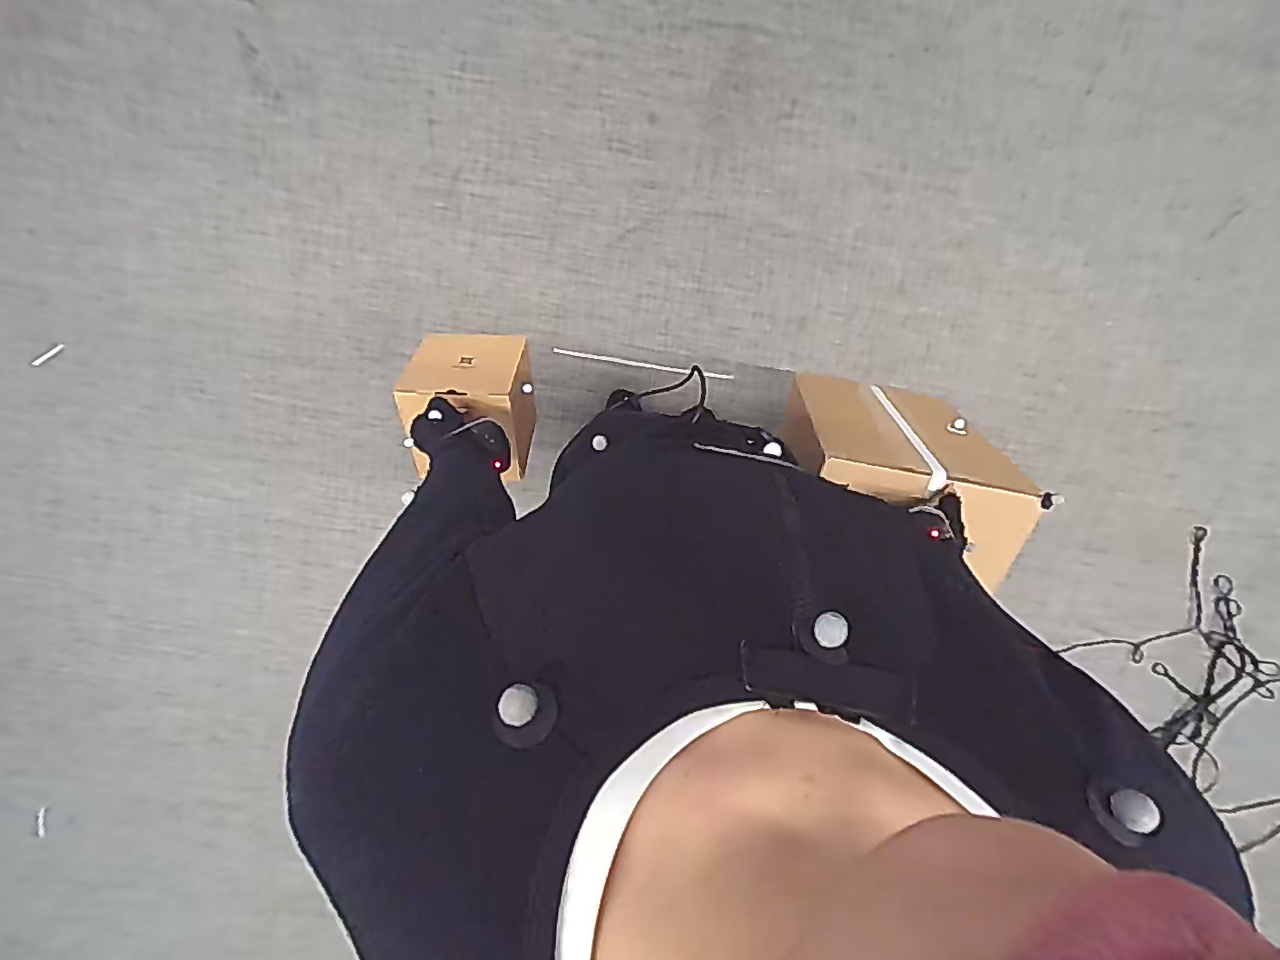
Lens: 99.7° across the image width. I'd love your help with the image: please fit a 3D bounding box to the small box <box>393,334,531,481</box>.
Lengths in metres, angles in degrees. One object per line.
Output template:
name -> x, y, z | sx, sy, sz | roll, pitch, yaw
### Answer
small box -> -0.275, -0.119, 0.883 | 0.168, 0.179, 0.176 | 1, 133, -2
